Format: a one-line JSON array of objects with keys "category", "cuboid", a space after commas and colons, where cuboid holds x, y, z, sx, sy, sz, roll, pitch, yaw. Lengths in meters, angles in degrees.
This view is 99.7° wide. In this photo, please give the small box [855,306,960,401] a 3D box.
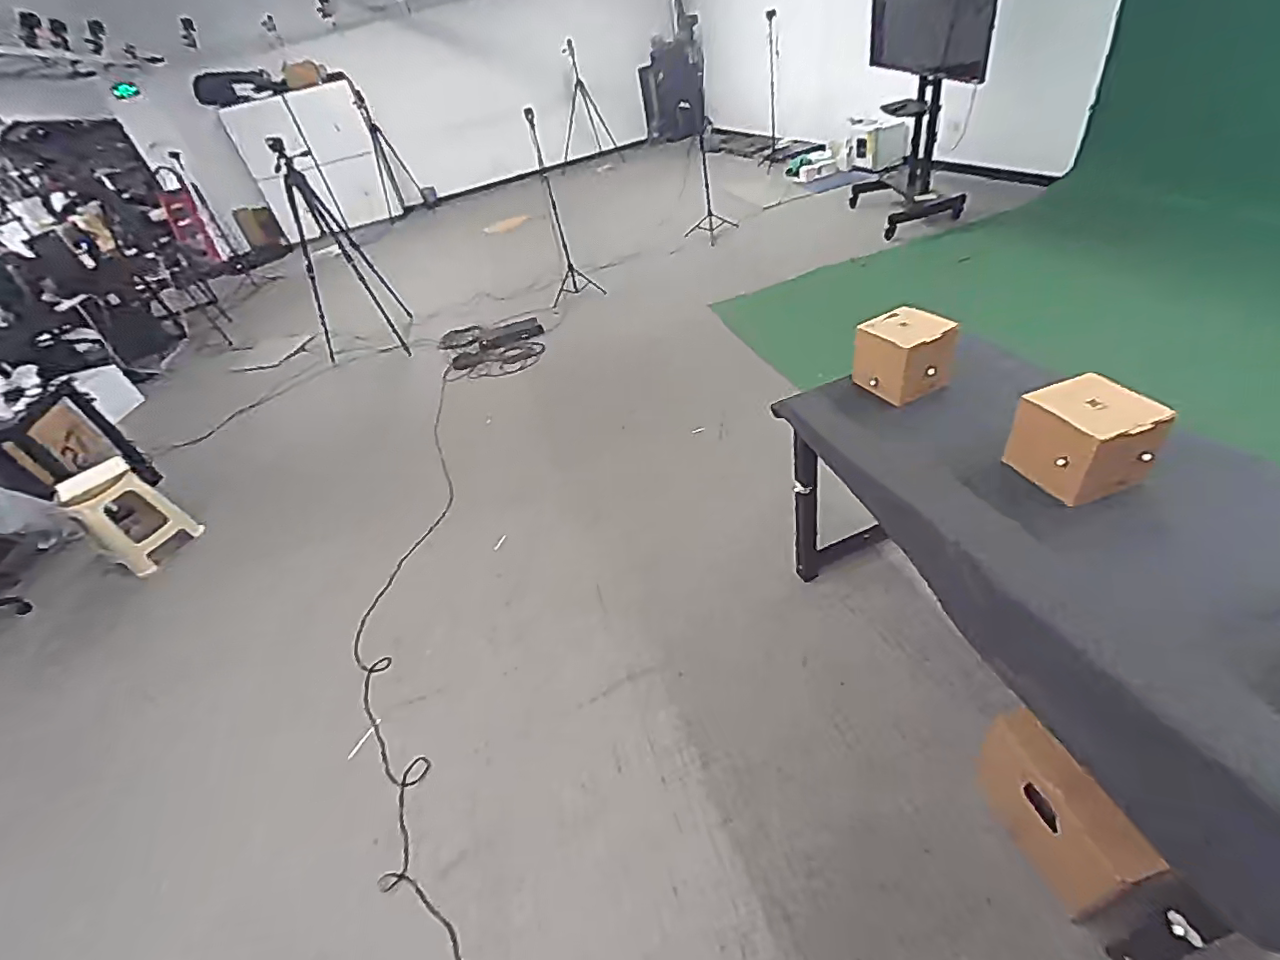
[{"category": "small box", "cuboid": [0.688, -0.325, 1.410, 0.168, 0.176, 0.179, -23, 41, -12]}]

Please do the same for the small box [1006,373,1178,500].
[{"category": "small box", "cuboid": [0.869, -0.080, 1.063, 0.168, 0.176, 0.179, -18, 38, -6]}]
